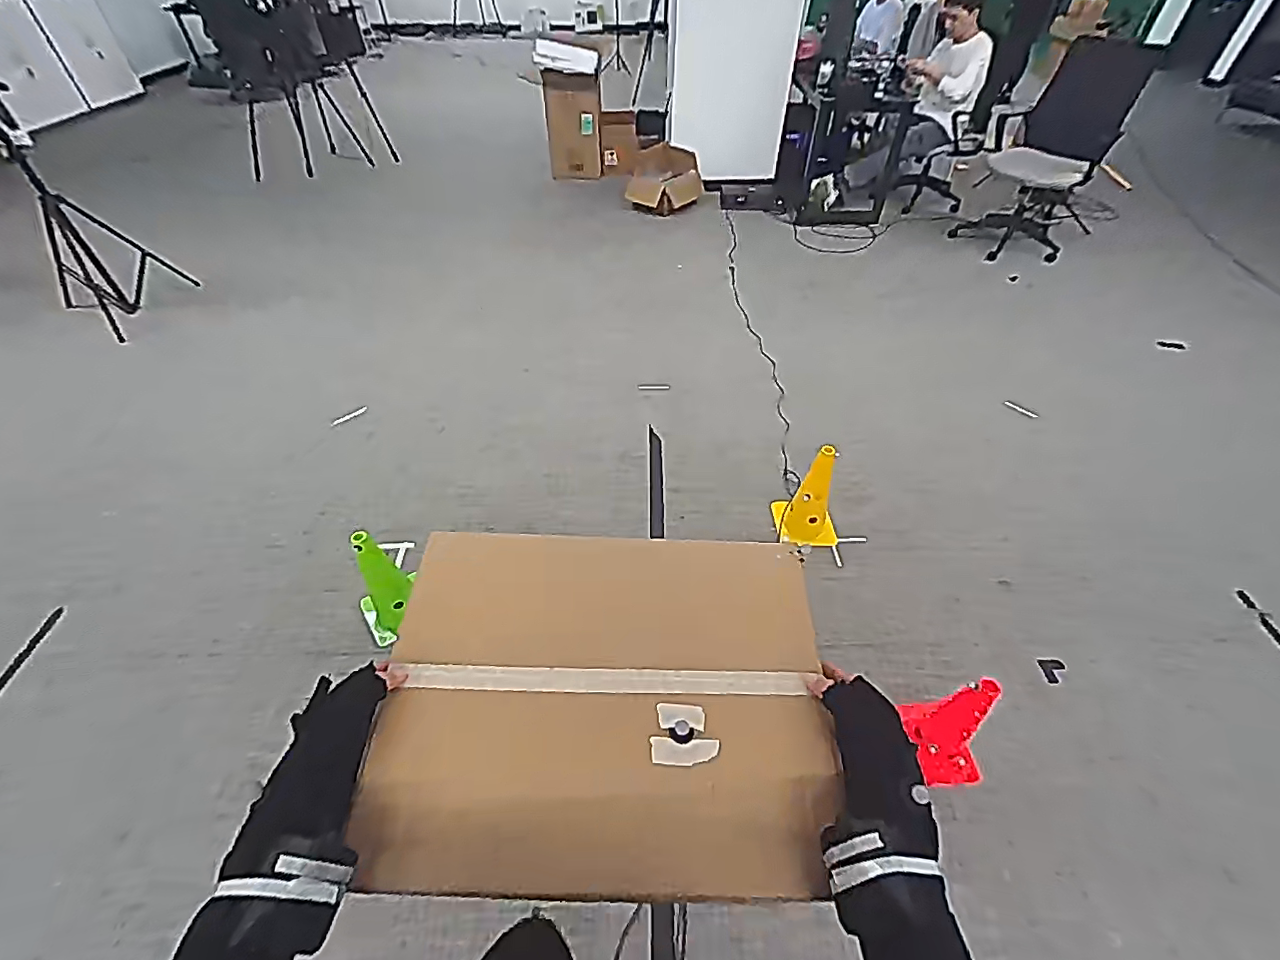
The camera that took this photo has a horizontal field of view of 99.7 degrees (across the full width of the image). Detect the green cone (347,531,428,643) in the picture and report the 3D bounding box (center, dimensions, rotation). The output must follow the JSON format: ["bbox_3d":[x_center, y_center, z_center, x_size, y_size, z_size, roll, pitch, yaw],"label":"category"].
[{"bbox_3d":[-0.740,0.266,1.548,0.202,0.368,0.200,-30,52,-24],"label":"green cone"}]

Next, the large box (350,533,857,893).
[{"bbox_3d":[-0.033,0.277,0.625,0.408,0.320,0.320,3,52,-2],"label":"large box"}]

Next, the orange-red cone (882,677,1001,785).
[{"bbox_3d":[0.745,0.557,1.273,0.198,0.360,0.199,-1,45,-2],"label":"orange-red cone"}]
